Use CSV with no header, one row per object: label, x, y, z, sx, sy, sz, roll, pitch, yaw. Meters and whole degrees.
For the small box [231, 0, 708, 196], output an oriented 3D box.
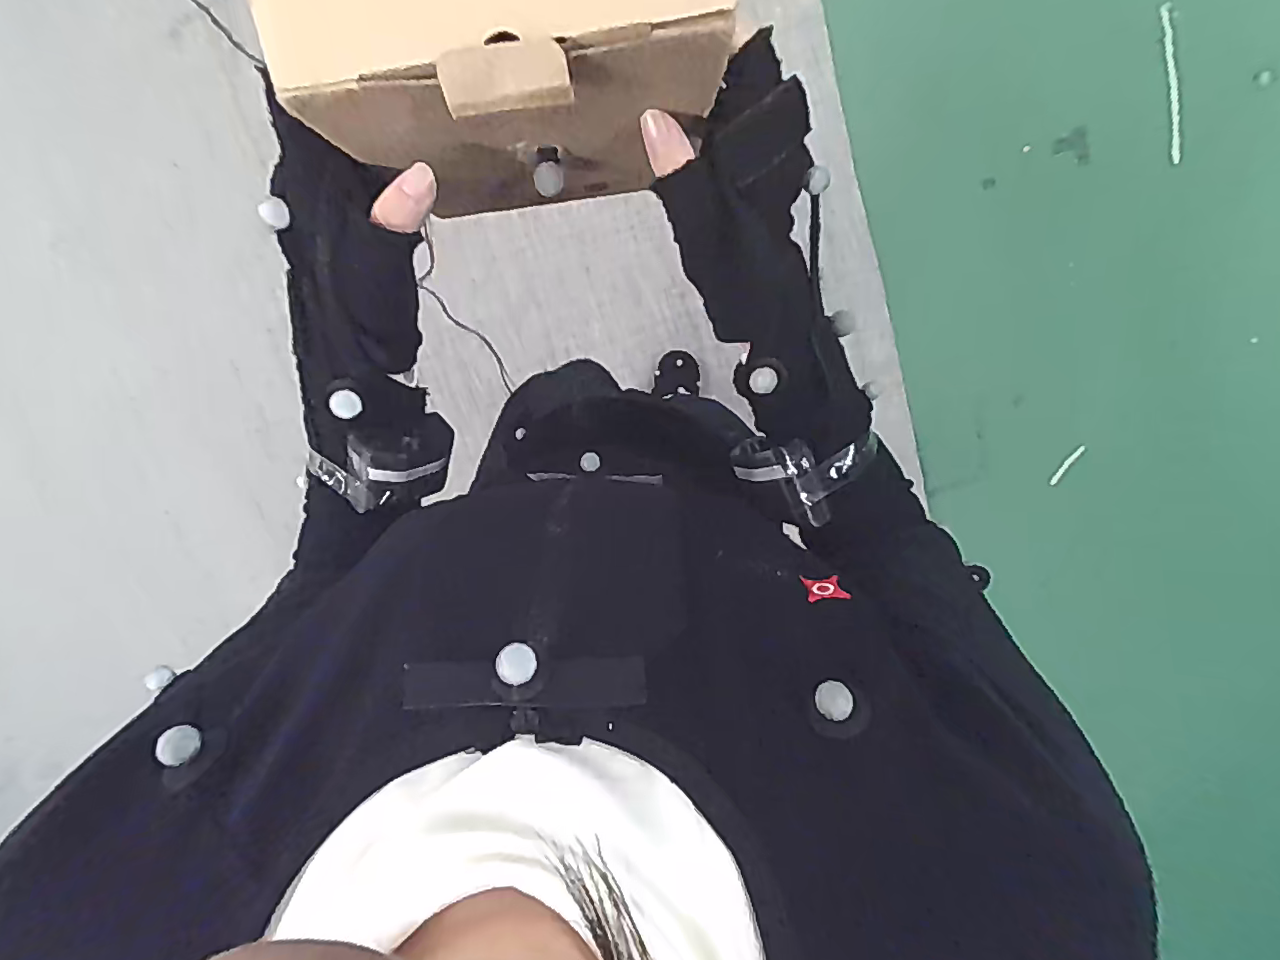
small box,-0.064,-0.247,0.247,0.168,0.176,0.179,-6,102,1
